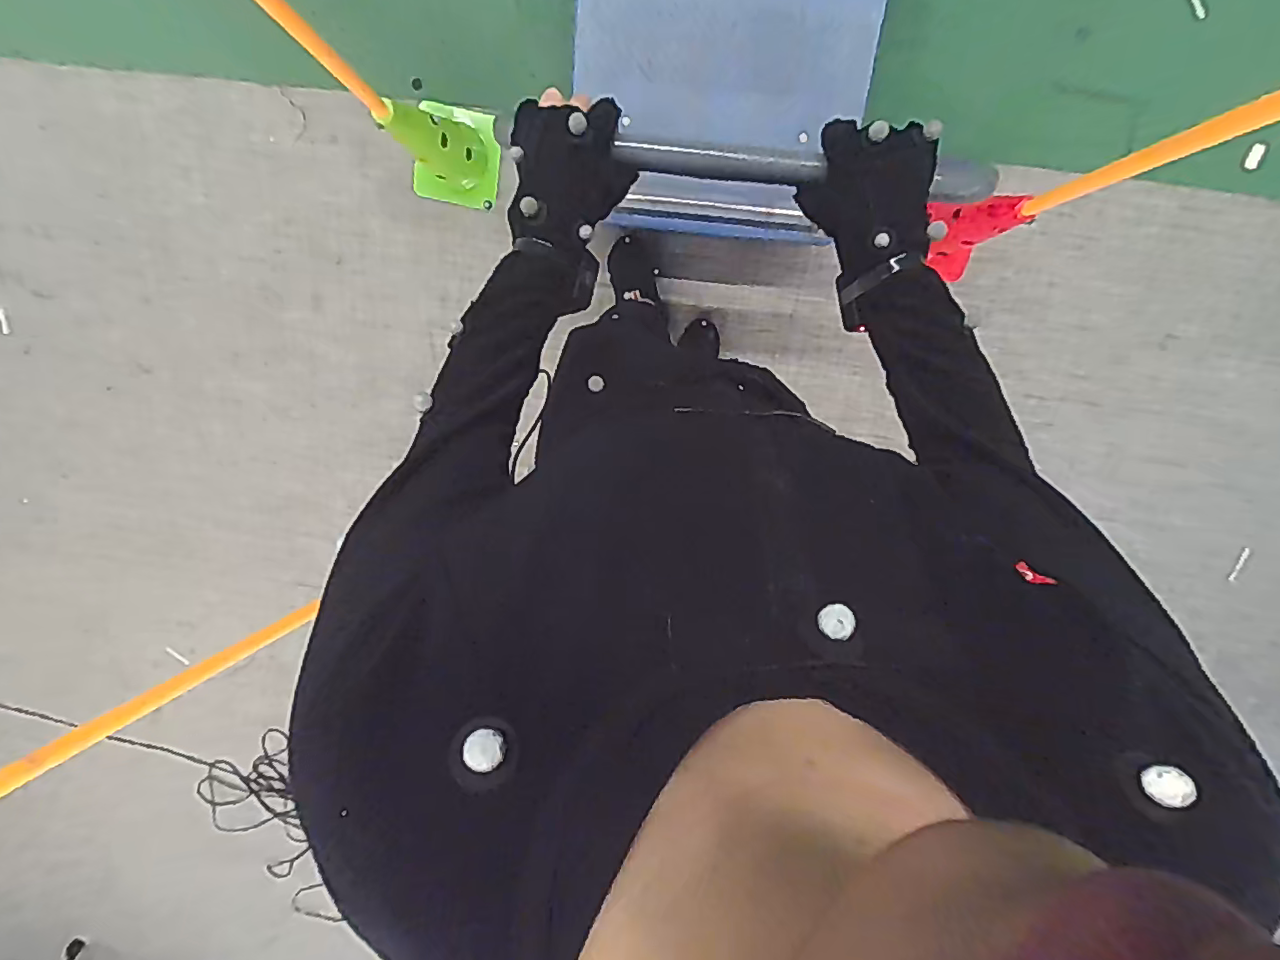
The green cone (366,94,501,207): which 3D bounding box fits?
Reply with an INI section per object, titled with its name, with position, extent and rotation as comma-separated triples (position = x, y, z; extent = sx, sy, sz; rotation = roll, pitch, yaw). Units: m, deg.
[green cone]
position = -0.443, -0.713, 1.112
extent = 0.202, 0.368, 0.200
rotation = 12, 109, 0
